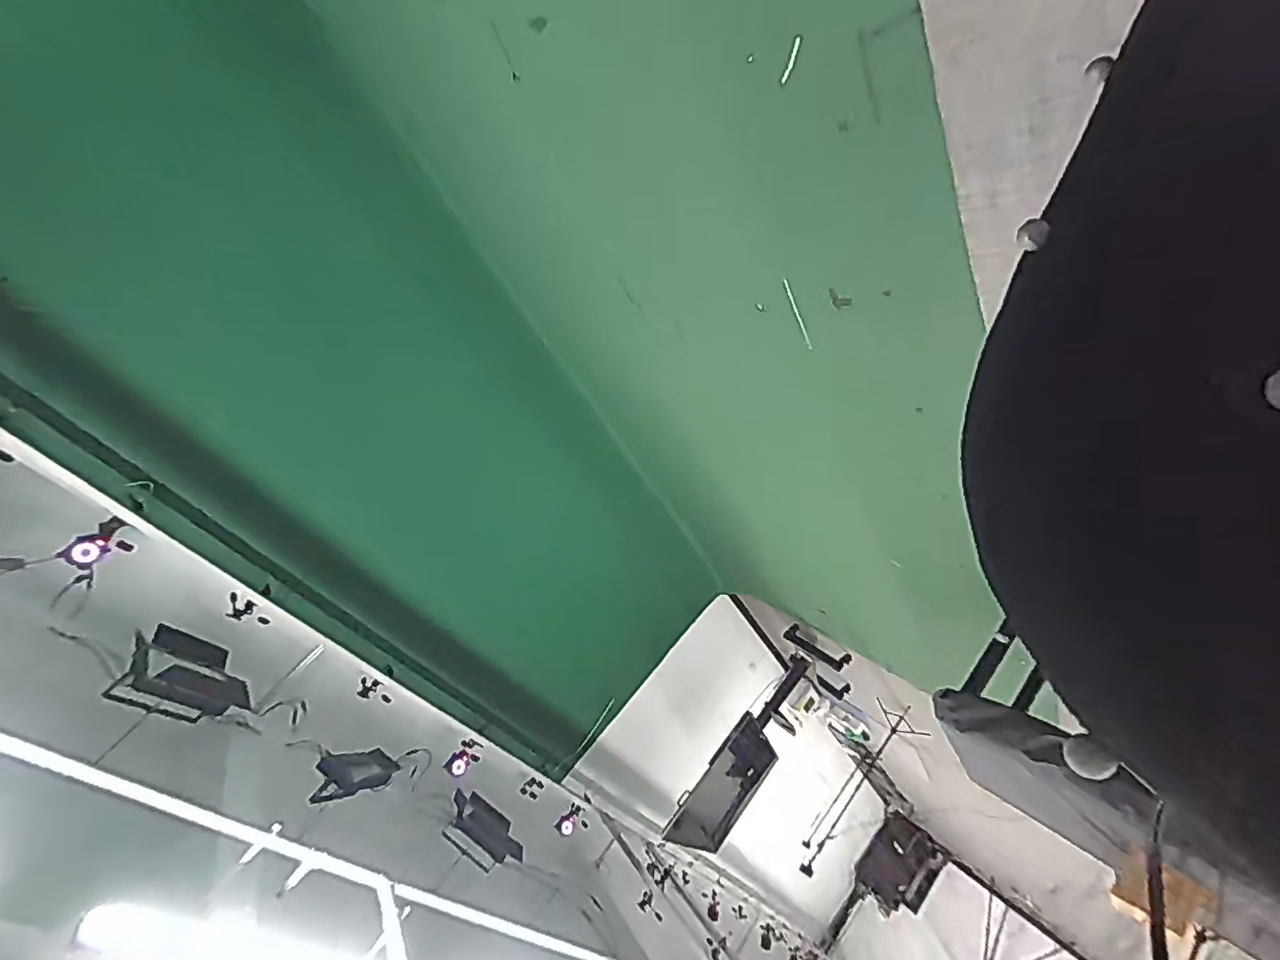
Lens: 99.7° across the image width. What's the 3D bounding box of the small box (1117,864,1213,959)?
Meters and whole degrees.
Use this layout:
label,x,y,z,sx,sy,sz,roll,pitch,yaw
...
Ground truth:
label,x,y,z,sx,sy,sz,roll,pitch,yaw
small box,1.549,1.286,1.598,0.168,0.176,0.179,22,153,54
